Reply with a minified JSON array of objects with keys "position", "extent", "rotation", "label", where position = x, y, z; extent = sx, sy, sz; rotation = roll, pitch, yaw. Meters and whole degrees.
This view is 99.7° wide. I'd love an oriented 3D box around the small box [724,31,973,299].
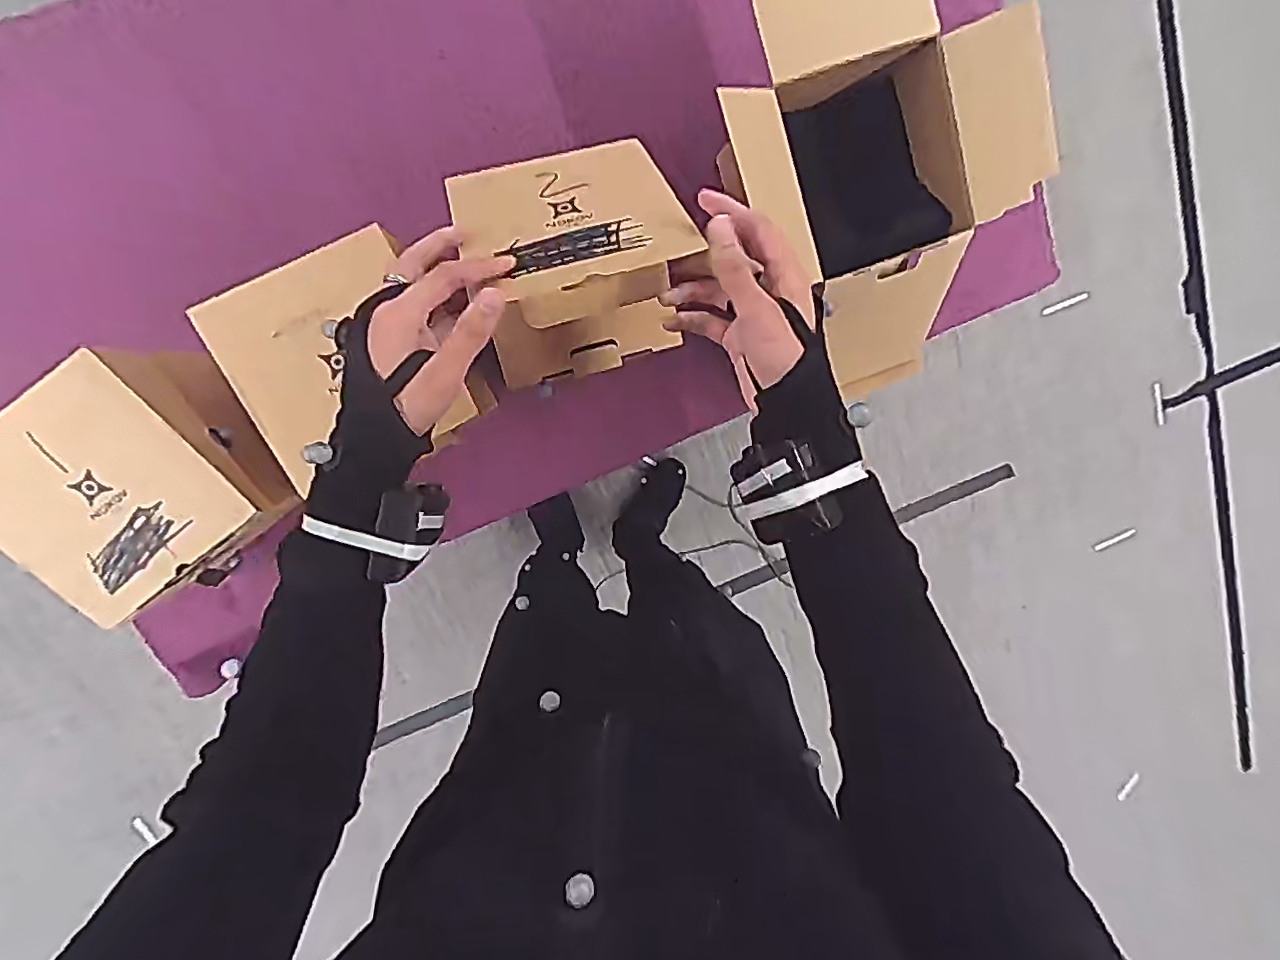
[{"position":[0.203,-0.307,0.568],"extent":[0.168,0.176,0.179],"rotation":[-20,104,-4],"label":"small box"}]
